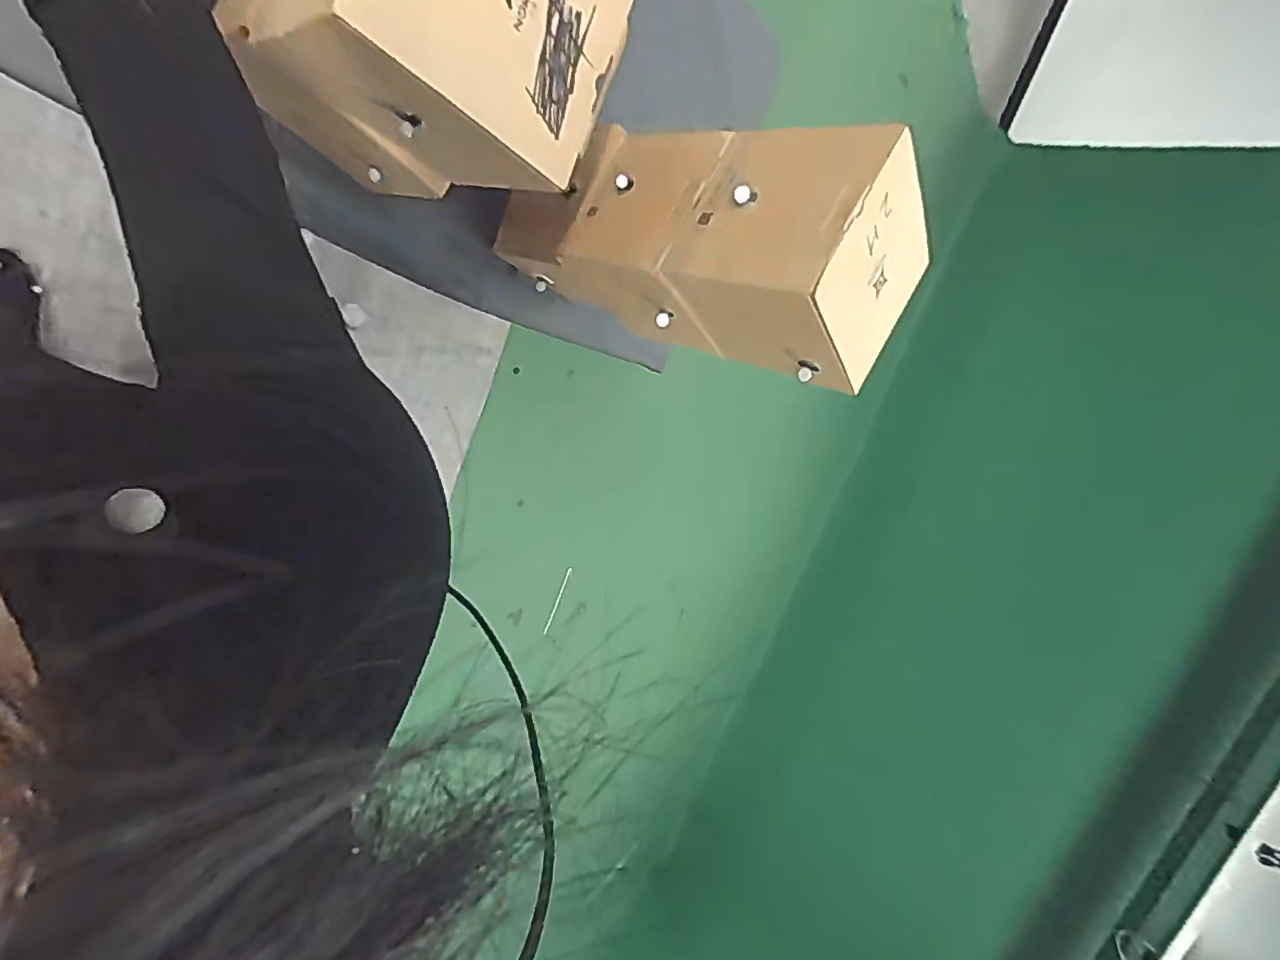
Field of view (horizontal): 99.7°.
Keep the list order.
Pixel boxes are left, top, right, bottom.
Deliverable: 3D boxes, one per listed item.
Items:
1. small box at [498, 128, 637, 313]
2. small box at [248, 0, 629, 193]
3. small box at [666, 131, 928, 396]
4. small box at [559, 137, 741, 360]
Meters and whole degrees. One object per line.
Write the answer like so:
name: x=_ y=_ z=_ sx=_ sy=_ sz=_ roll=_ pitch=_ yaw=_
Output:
small box: x=-0.067 y=-0.344 z=0.741 sx=0.168 sy=0.176 sz=0.179 roll=13 pitch=102 yaw=-51
small box: x=-0.141 y=-0.337 z=0.389 sx=0.179 sy=0.176 sz=0.168 roll=13 pitch=101 yaw=-51
small box: x=0.159 y=-0.214 z=0.544 sx=0.179 sy=0.176 sz=0.168 roll=34 pitch=85 yaw=-51
small box: x=0.041 y=-0.272 z=0.643 sx=0.179 sy=0.176 sz=0.168 roll=31 pitch=87 yaw=-51
